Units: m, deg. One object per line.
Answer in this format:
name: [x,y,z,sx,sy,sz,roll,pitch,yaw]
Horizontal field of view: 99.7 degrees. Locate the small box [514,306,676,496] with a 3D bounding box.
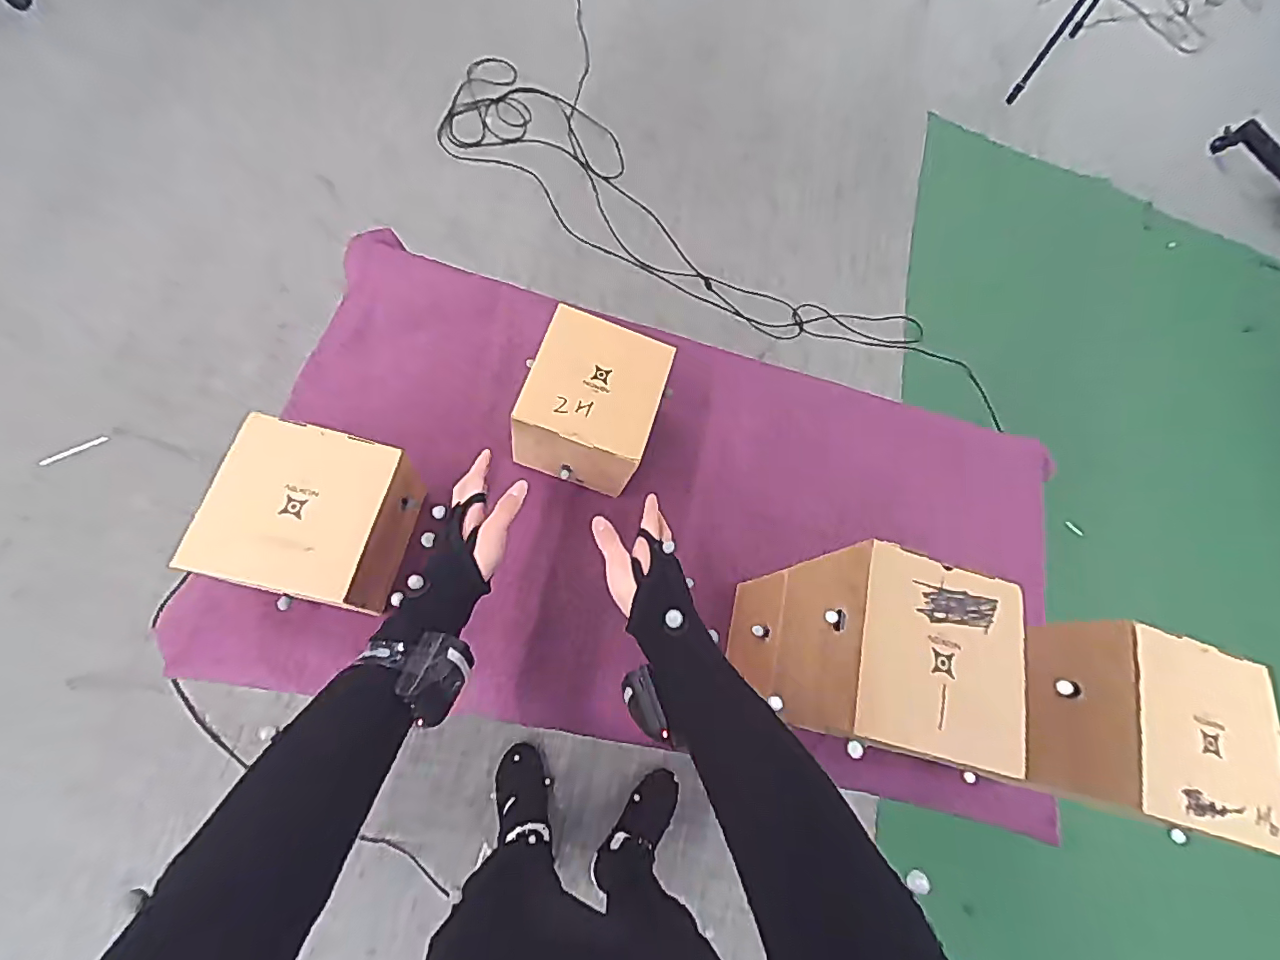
small box: [-0.068,-0.099,0.754,0.168,0.176,0.179,20,70,-5]

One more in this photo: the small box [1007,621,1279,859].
small box: [0.522,0.269,0.588,0.168,0.176,0.179,19,69,-4]

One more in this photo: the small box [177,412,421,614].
small box: [-0.375,0.050,0.639,0.168,0.176,0.179,15,70,-7]

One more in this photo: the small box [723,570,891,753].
small box: [0.220,0.237,0.712,0.168,0.176,0.179,17,68,-6]

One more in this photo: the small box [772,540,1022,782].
small box: [0.254,0.183,0.561,0.168,0.176,0.179,18,70,-6]
